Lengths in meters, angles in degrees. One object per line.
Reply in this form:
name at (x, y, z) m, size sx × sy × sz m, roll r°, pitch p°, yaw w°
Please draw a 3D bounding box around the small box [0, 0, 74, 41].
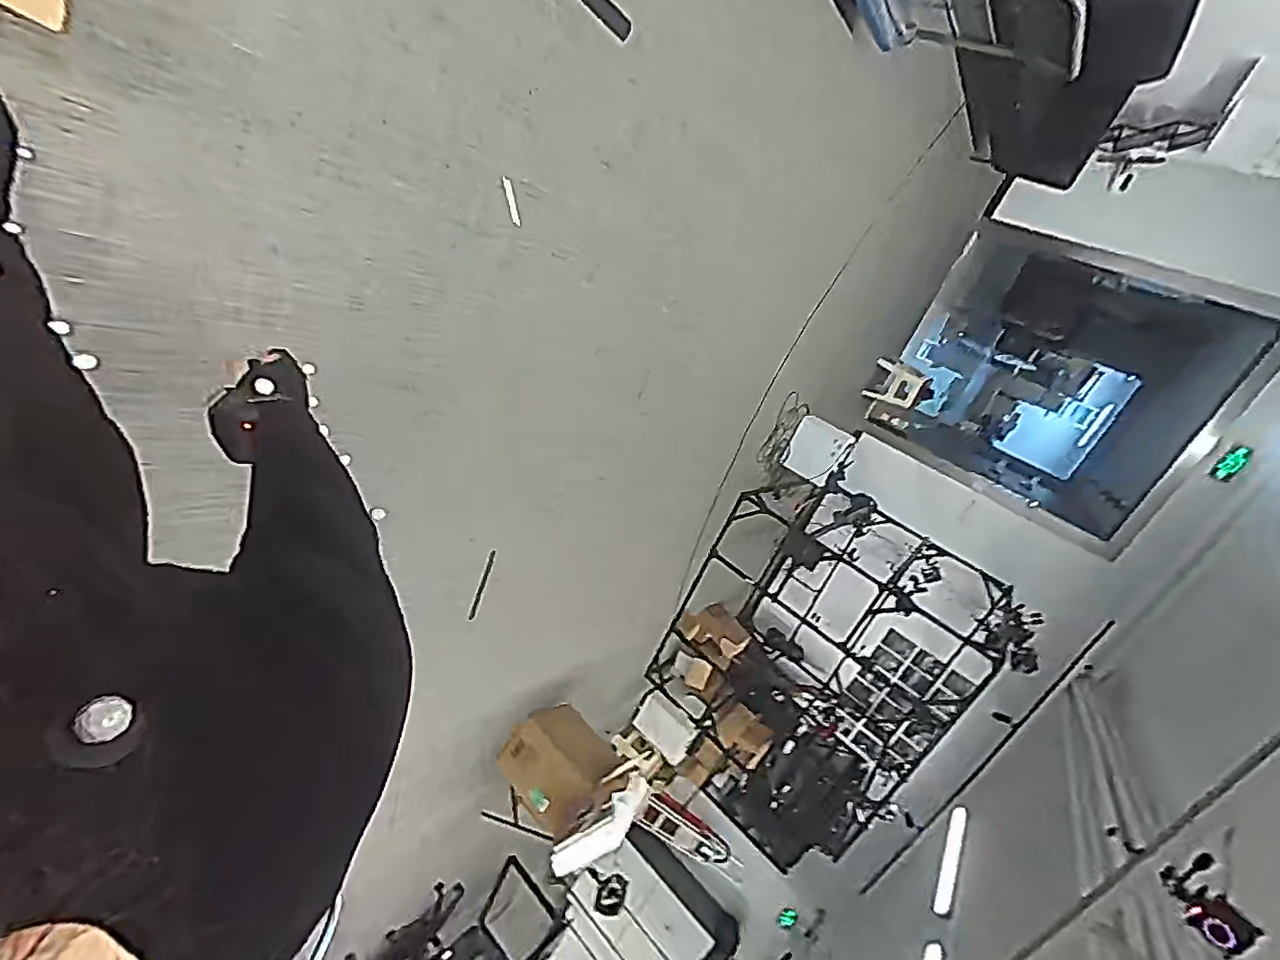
small box at (-0.722, -0.613, 0.560) m, size 0.179 × 0.176 × 0.168 m, roll 5°, pitch 115°, yaw -59°
